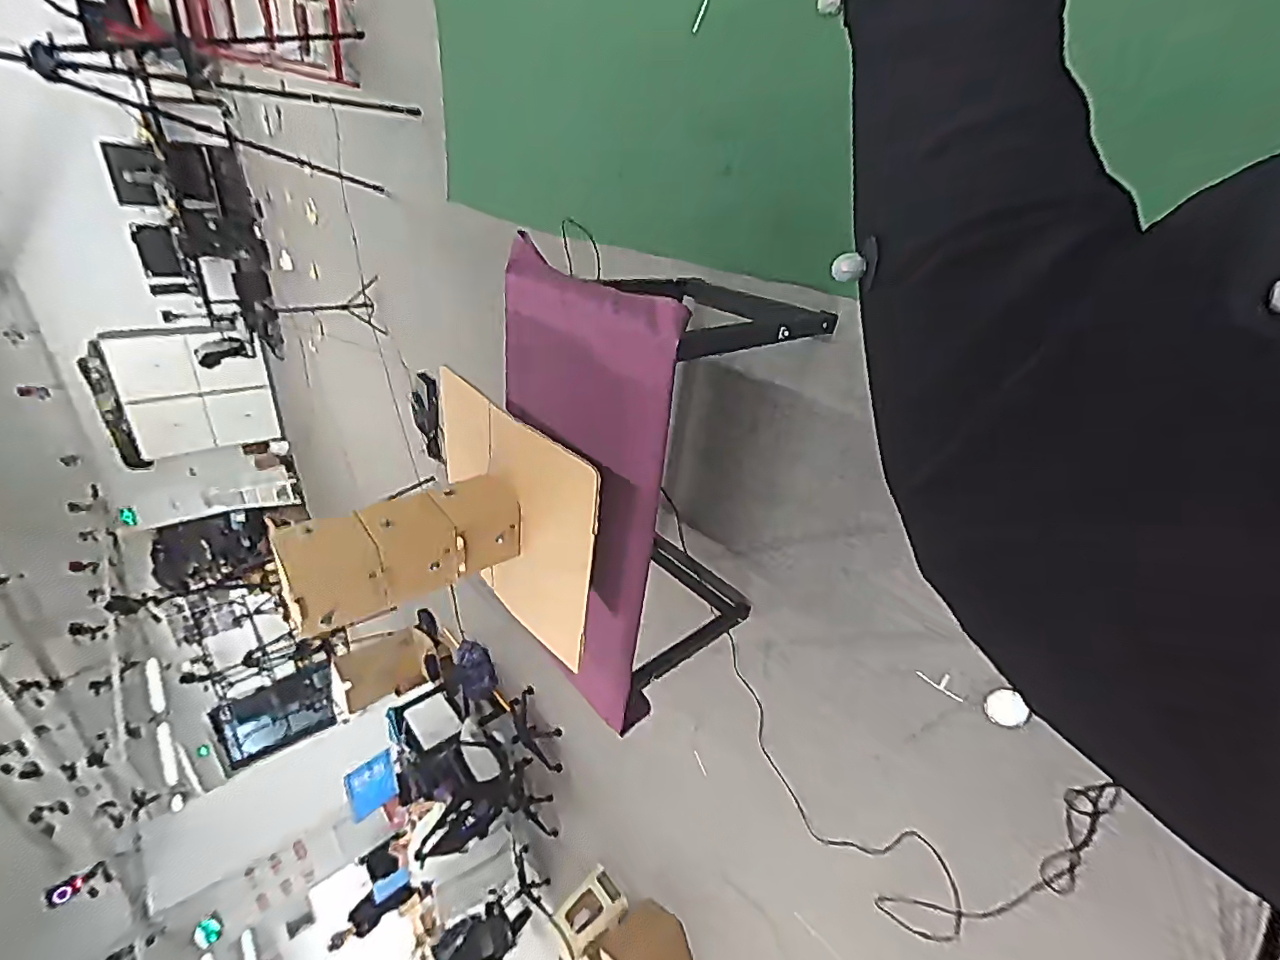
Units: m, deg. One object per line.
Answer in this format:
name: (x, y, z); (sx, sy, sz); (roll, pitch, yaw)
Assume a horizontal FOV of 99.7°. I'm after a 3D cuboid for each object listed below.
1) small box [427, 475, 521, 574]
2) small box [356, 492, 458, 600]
small box: (-0.419, 0.103, 1.363); (0.179, 0.176, 0.168); (35, 130, 38)
small box: (-0.541, 0.144, 1.264); (0.179, 0.176, 0.168); (35, 129, 37)
